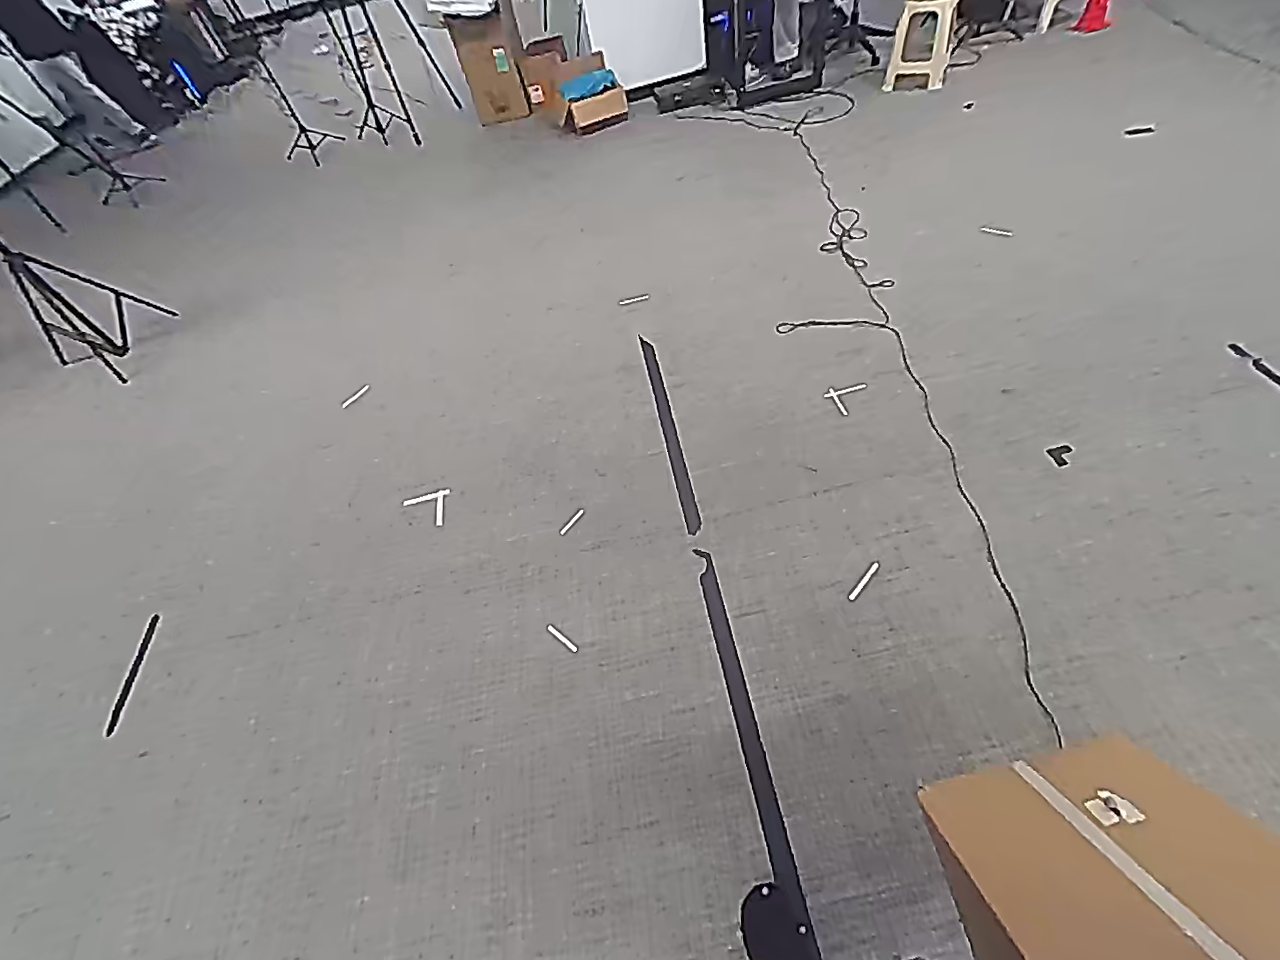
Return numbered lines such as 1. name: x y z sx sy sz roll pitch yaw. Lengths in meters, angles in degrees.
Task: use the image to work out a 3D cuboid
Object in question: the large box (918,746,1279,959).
1. large box: 0.607 0.593 0.630 0.320 0.408 0.320 -18 89 6
